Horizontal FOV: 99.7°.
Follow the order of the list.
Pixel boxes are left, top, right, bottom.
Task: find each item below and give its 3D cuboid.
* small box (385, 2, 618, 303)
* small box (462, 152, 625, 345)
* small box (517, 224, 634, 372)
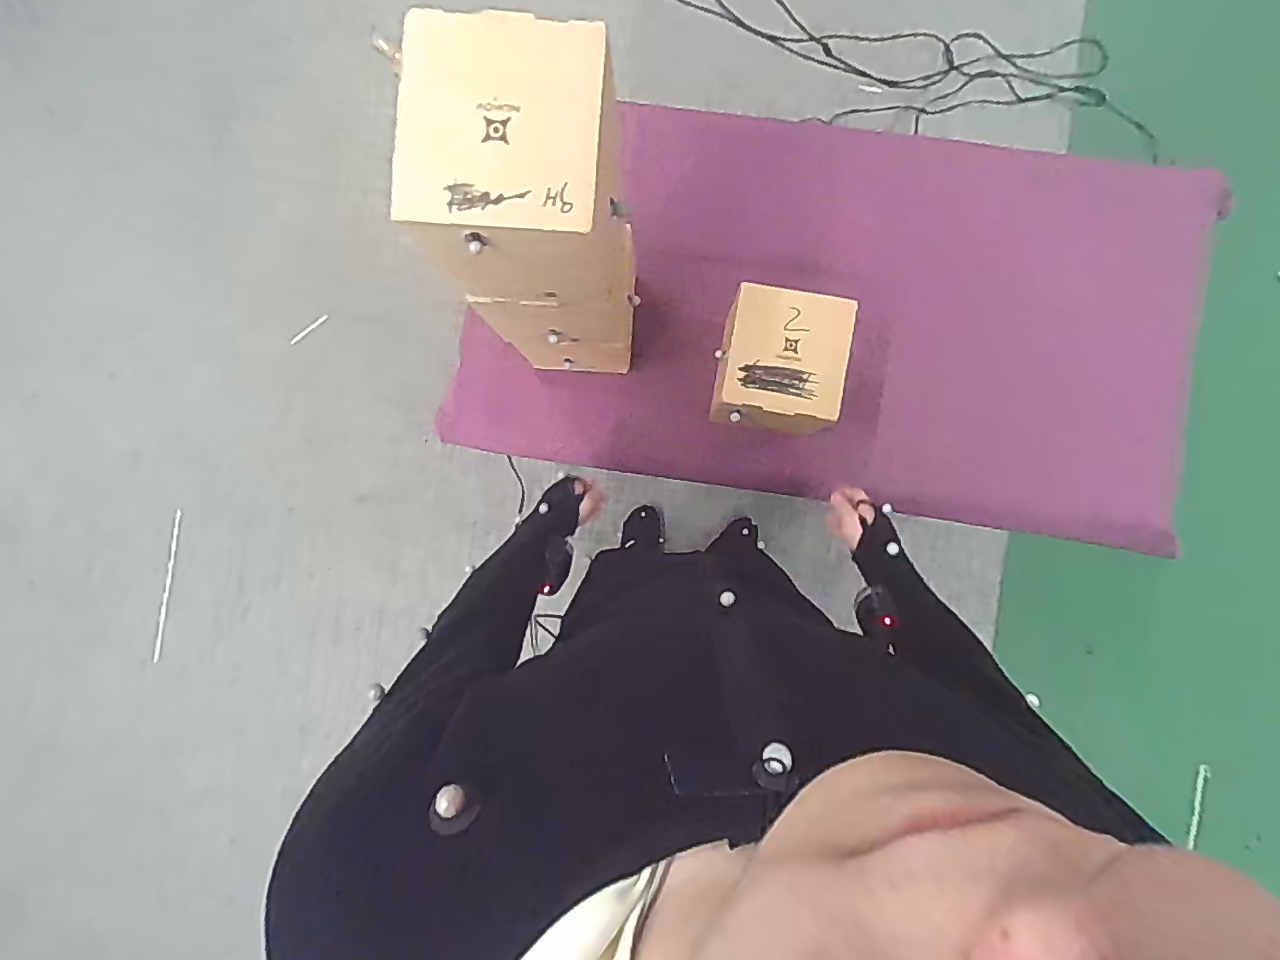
[{"bbox_3d":[-0.112,-0.287,0.508,0.168,0.176,0.179,5,88,2],"label":"small box"},{"bbox_3d":[-0.108,-0.281,0.673,0.168,0.176,0.179,2,89,2],"label":"small box"},{"bbox_3d":[-0.096,-0.277,0.837,0.168,0.176,0.179,3,89,2],"label":"small box"}]
